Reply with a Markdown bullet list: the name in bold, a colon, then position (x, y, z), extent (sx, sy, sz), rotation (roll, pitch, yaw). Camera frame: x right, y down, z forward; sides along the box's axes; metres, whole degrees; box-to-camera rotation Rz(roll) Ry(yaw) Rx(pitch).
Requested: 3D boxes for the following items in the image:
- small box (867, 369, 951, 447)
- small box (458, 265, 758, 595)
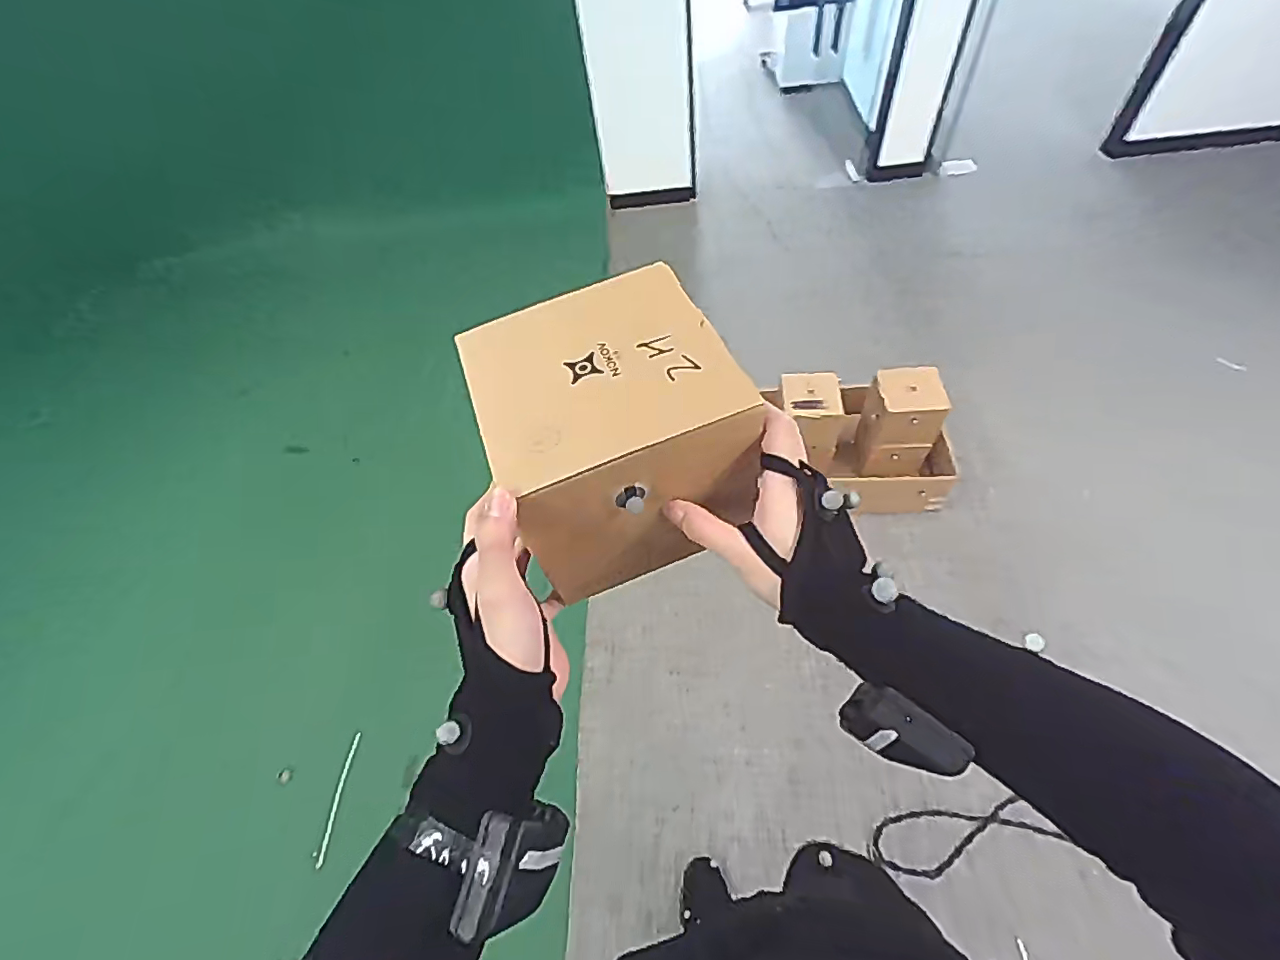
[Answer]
- **small box**: position (0.801, -0.213, 1.633), extent (0.179, 0.176, 0.168), rotation (-3, 56, 6)
- **small box**: position (-0.020, -0.032, 0.434), extent (0.179, 0.176, 0.168), rotation (-21, 55, -6)
